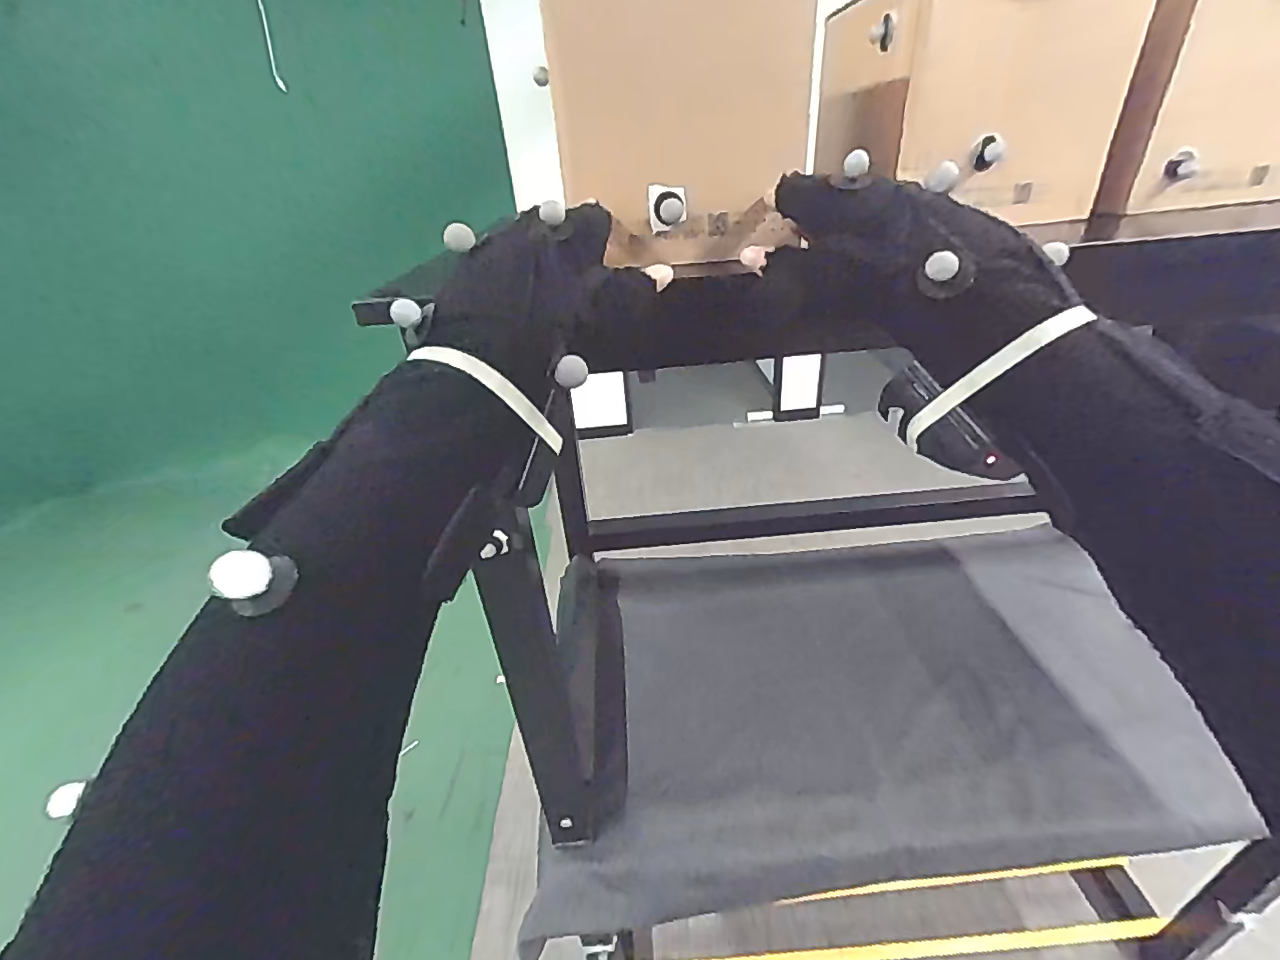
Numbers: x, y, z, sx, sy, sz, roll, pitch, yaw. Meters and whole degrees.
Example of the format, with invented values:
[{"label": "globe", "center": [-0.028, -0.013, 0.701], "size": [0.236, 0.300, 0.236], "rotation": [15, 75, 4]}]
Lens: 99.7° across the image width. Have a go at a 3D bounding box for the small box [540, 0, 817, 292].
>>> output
[{"label": "small box", "center": [0.023, -0.253, 0.423], "size": [0.168, 0.176, 0.179], "rotation": [-7, 32, -2]}]
